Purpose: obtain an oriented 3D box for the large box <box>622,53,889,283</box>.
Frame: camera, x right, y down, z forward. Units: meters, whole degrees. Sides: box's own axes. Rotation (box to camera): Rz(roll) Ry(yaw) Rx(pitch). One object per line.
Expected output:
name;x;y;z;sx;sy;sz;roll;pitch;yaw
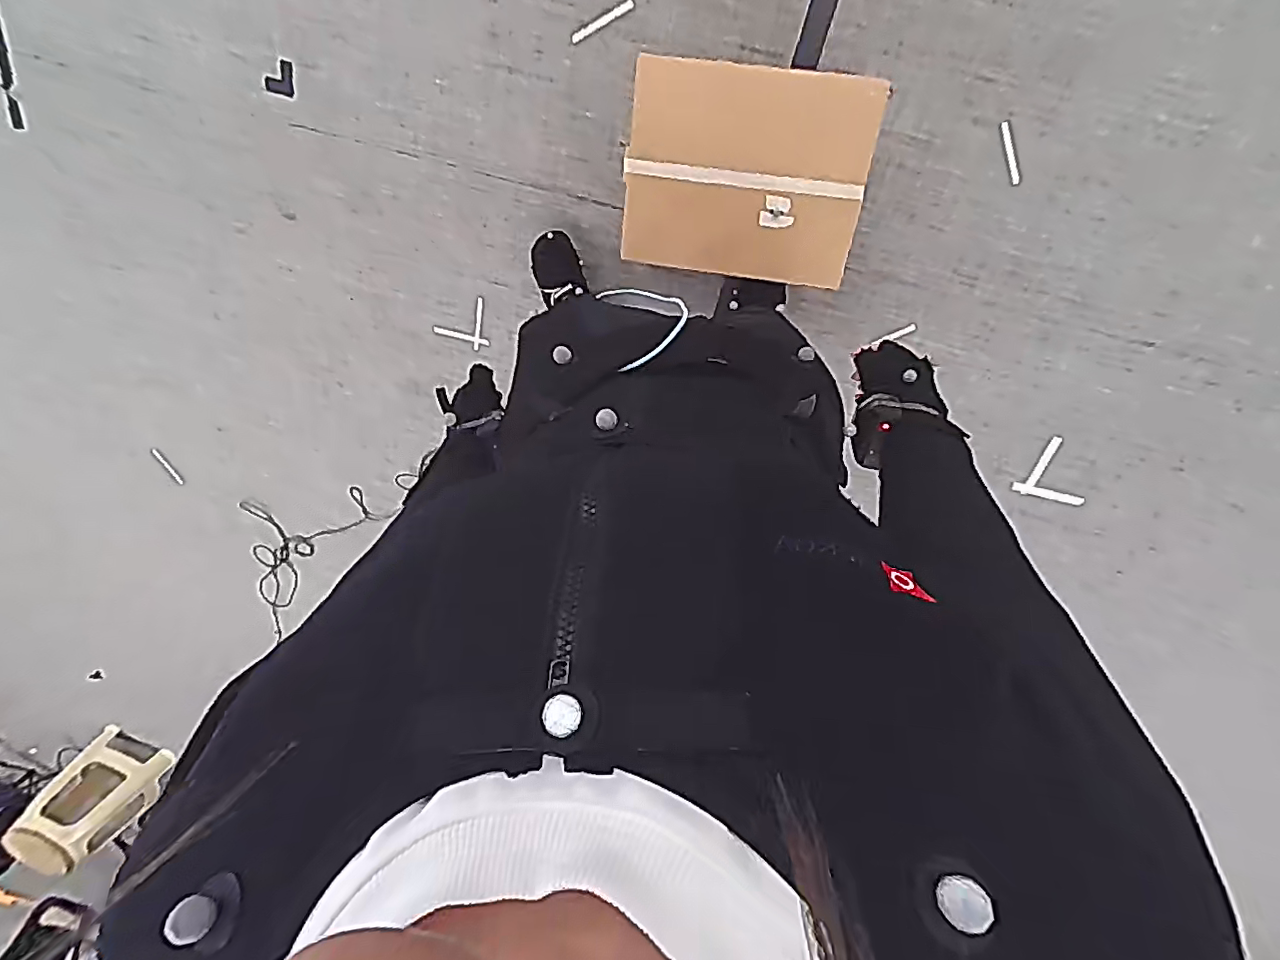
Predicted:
large box;0.194;-0.582;1.048;0.408;0.320;0.320;10;118;4
